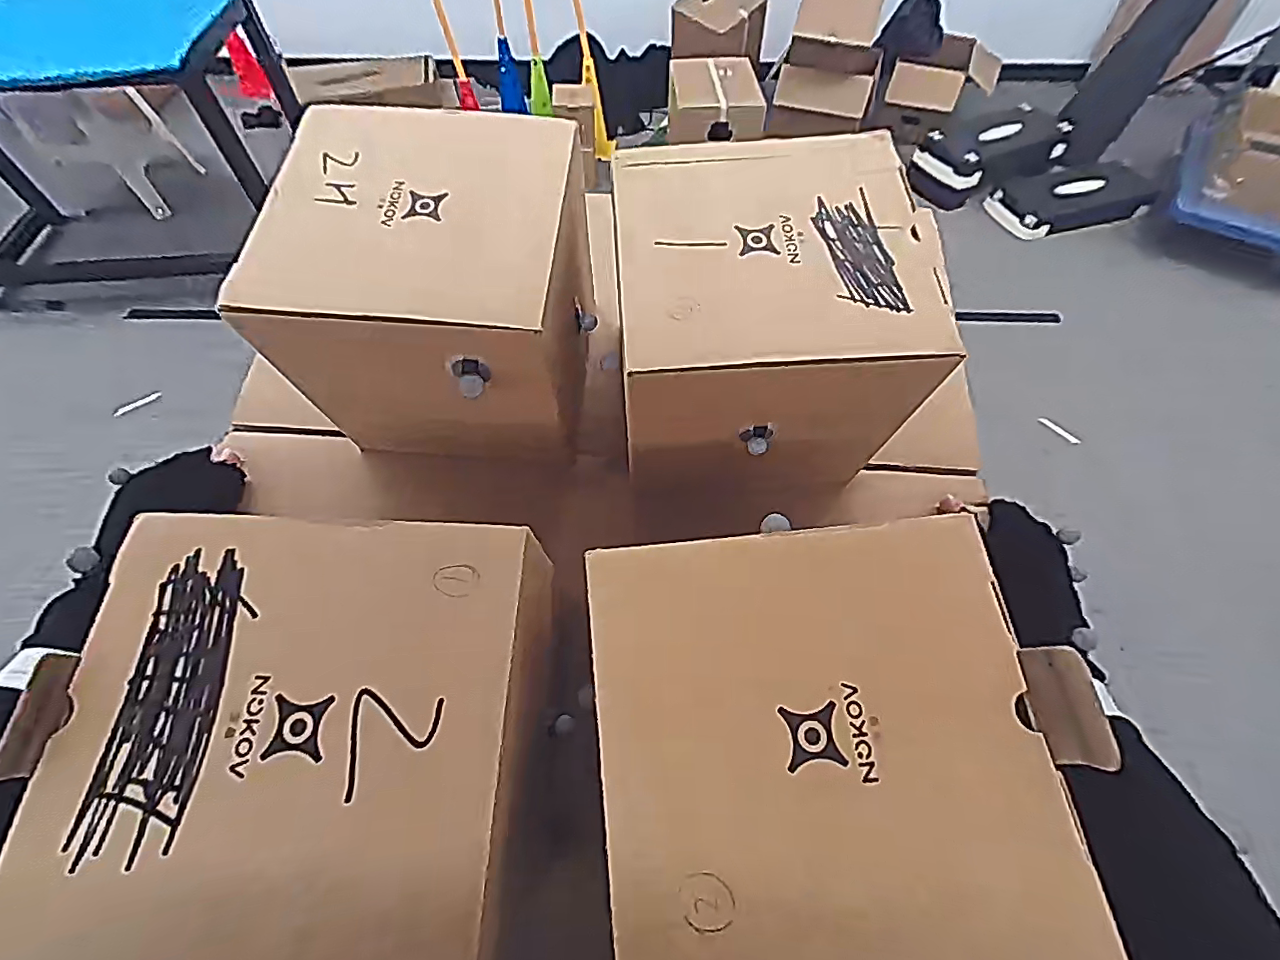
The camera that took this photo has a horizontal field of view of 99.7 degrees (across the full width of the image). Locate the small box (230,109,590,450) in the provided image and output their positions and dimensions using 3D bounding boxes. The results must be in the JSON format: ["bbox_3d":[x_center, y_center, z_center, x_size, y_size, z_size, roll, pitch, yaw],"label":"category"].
[{"bbox_3d":[-0.135,-0.133,0.401,0.179,0.176,0.168,5,67,2],"label":"small box"}]
